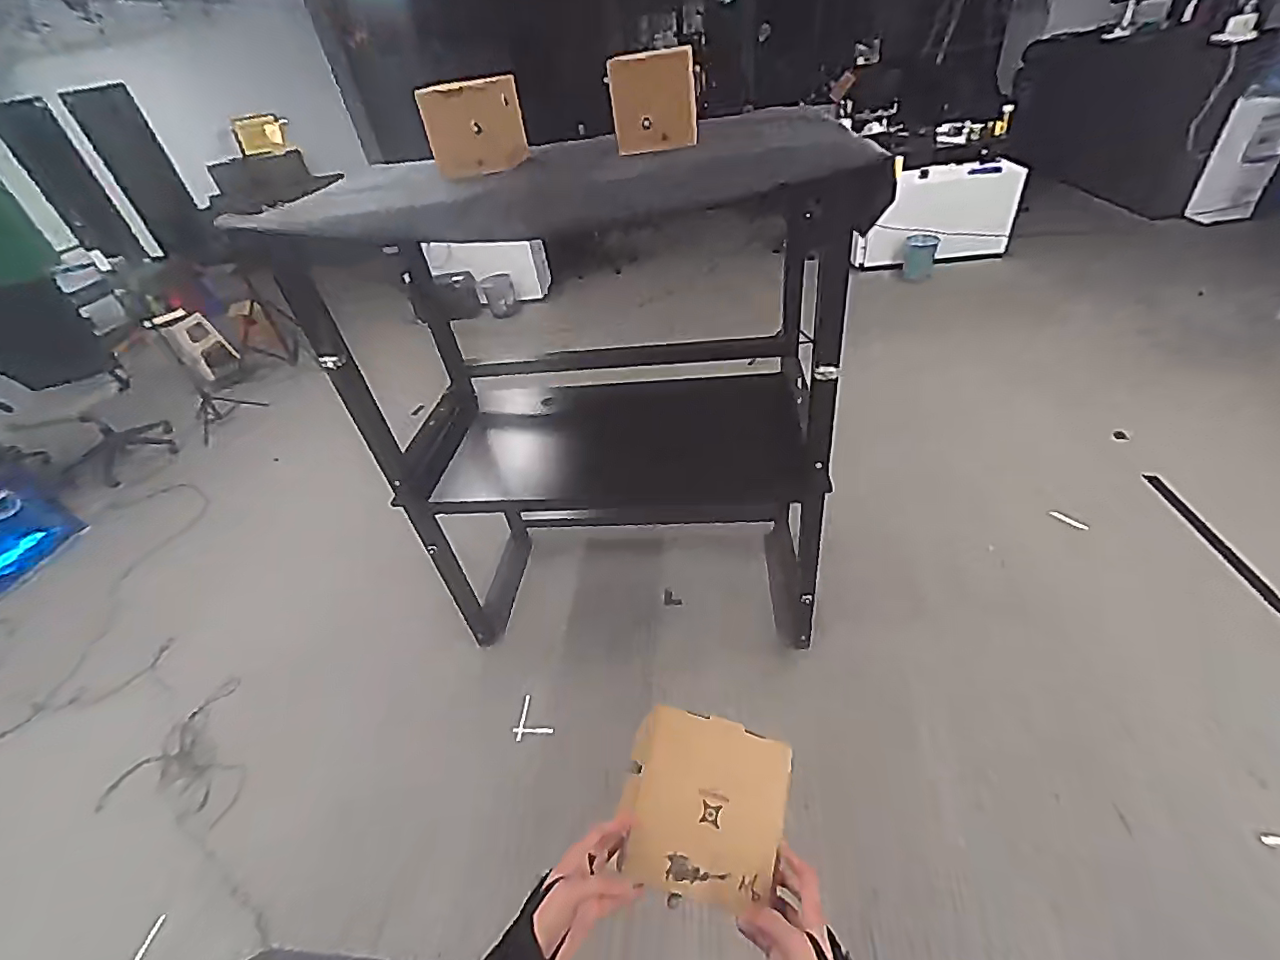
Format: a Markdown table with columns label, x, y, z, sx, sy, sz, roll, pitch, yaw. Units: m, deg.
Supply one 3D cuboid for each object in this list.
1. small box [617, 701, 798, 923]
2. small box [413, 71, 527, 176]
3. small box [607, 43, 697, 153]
| label | x | y | z | sx | sy | sz | roll | pitch | yaw |
| --- | --- | --- | --- | --- | --- | --- | --- | --- | --- |
| small box | 0.076 | 0.397 | 0.667 | 0.168 | 0.176 | 0.179 | 18 | 60 | 1 |
| small box | -0.369 | -0.796 | 1.215 | 0.168 | 0.176 | 0.179 | 0 | 41 | 10 |
| small box | 0.034 | -0.816 | 1.159 | 0.168 | 0.176 | 0.179 | -2 | 41 | 9 |
